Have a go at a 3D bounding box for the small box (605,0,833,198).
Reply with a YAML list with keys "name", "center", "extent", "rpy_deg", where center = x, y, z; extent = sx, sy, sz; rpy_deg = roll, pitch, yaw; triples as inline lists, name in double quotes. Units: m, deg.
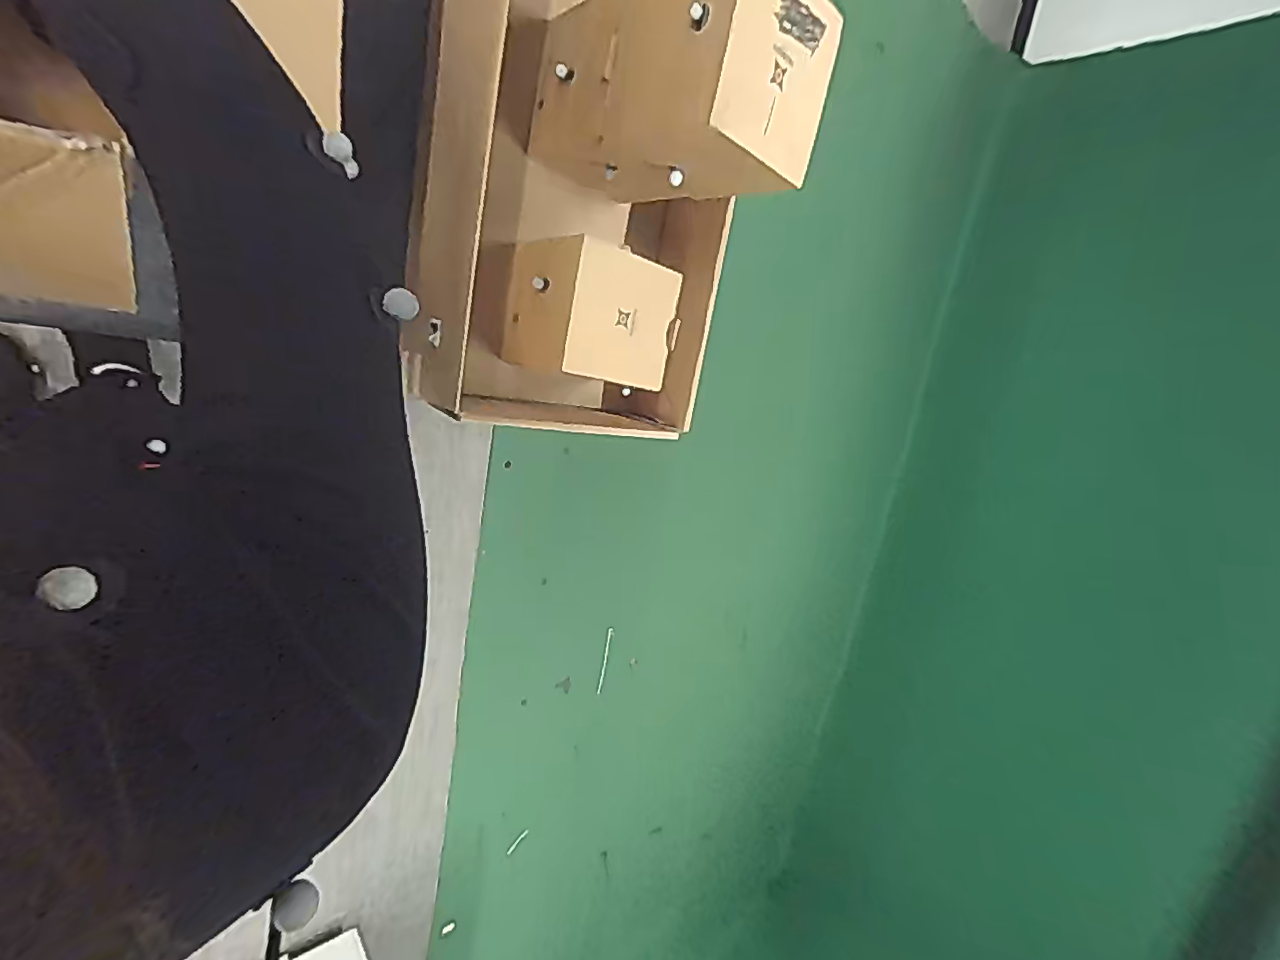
- name: "small box"
  center: [0.081, -0.438, 0.602]
  extent: [0.168, 0.176, 0.179]
  rpy_deg: [1, 107, -44]
